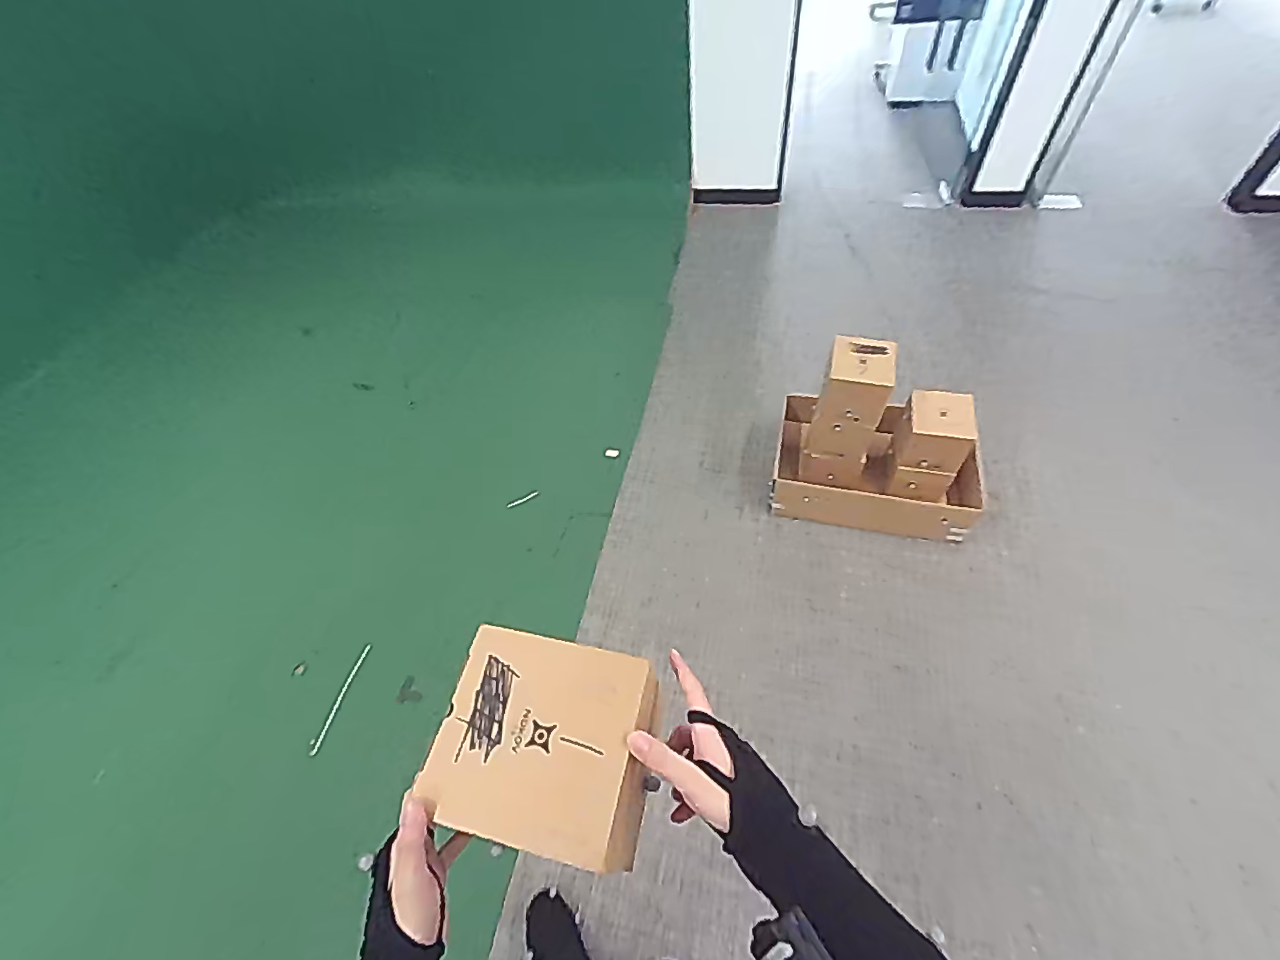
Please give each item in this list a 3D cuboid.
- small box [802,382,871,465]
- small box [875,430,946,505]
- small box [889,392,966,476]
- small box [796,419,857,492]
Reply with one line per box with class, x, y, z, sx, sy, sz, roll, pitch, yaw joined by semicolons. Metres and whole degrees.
small box;0.609;-0.177;1.689;0.168;0.176;0.179;12;55;14
small box;0.878;-0.039;1.769;0.168;0.176;0.179;8;56;11
small box;0.864;-0.138;1.640;0.168;0.176;0.179;9;56;14
small box;0.625;-0.079;1.820;0.168;0.176;0.179;8;56;9
